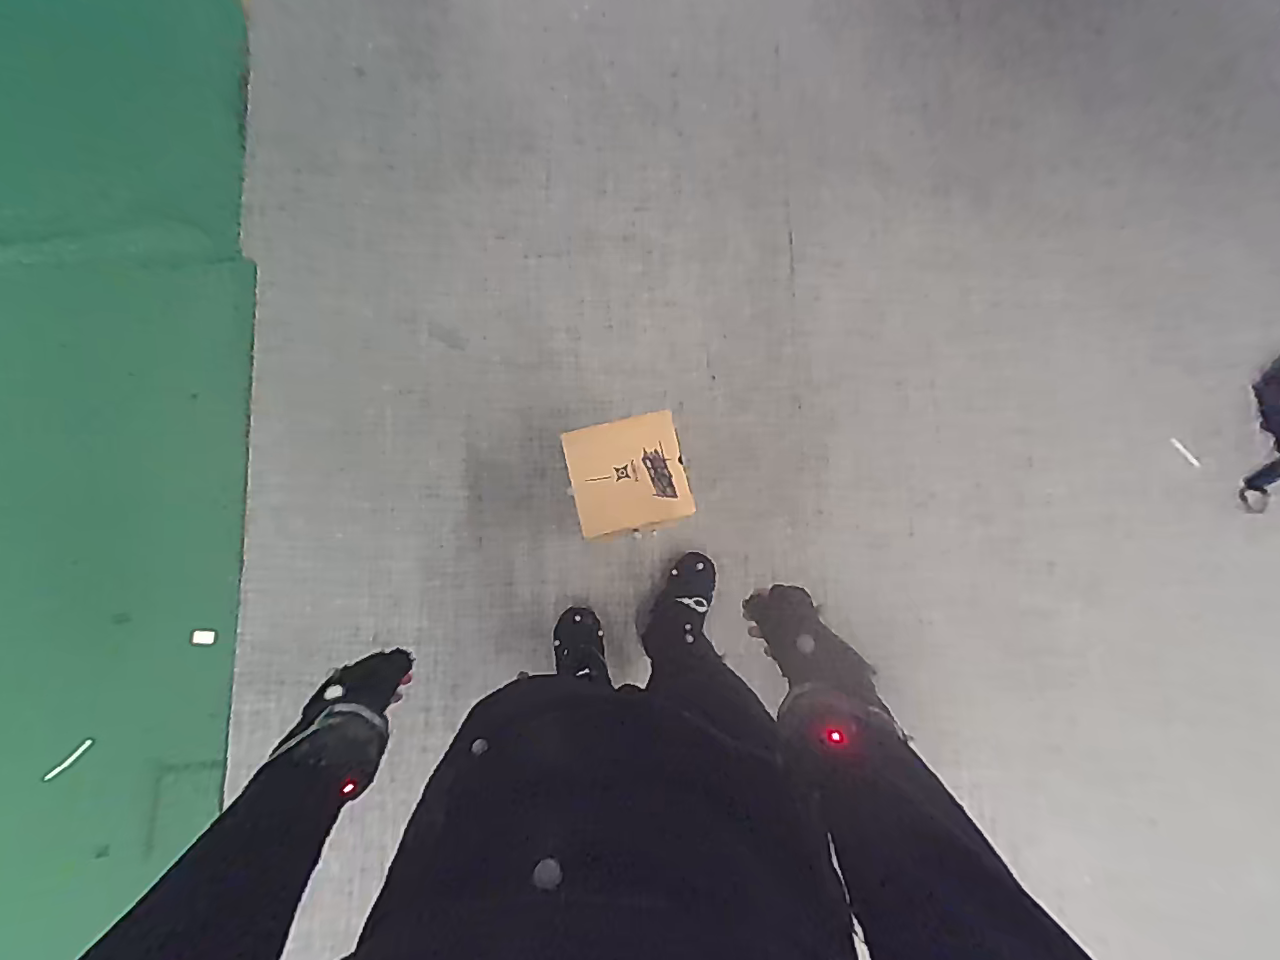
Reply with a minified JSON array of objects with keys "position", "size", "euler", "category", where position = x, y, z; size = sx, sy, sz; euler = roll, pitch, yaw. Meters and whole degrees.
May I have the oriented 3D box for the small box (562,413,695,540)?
[{"position":[-0.020,0.001,0.898],"size":[0.179,0.176,0.168],"euler":[-13,83,-2],"category":"small box"}]
